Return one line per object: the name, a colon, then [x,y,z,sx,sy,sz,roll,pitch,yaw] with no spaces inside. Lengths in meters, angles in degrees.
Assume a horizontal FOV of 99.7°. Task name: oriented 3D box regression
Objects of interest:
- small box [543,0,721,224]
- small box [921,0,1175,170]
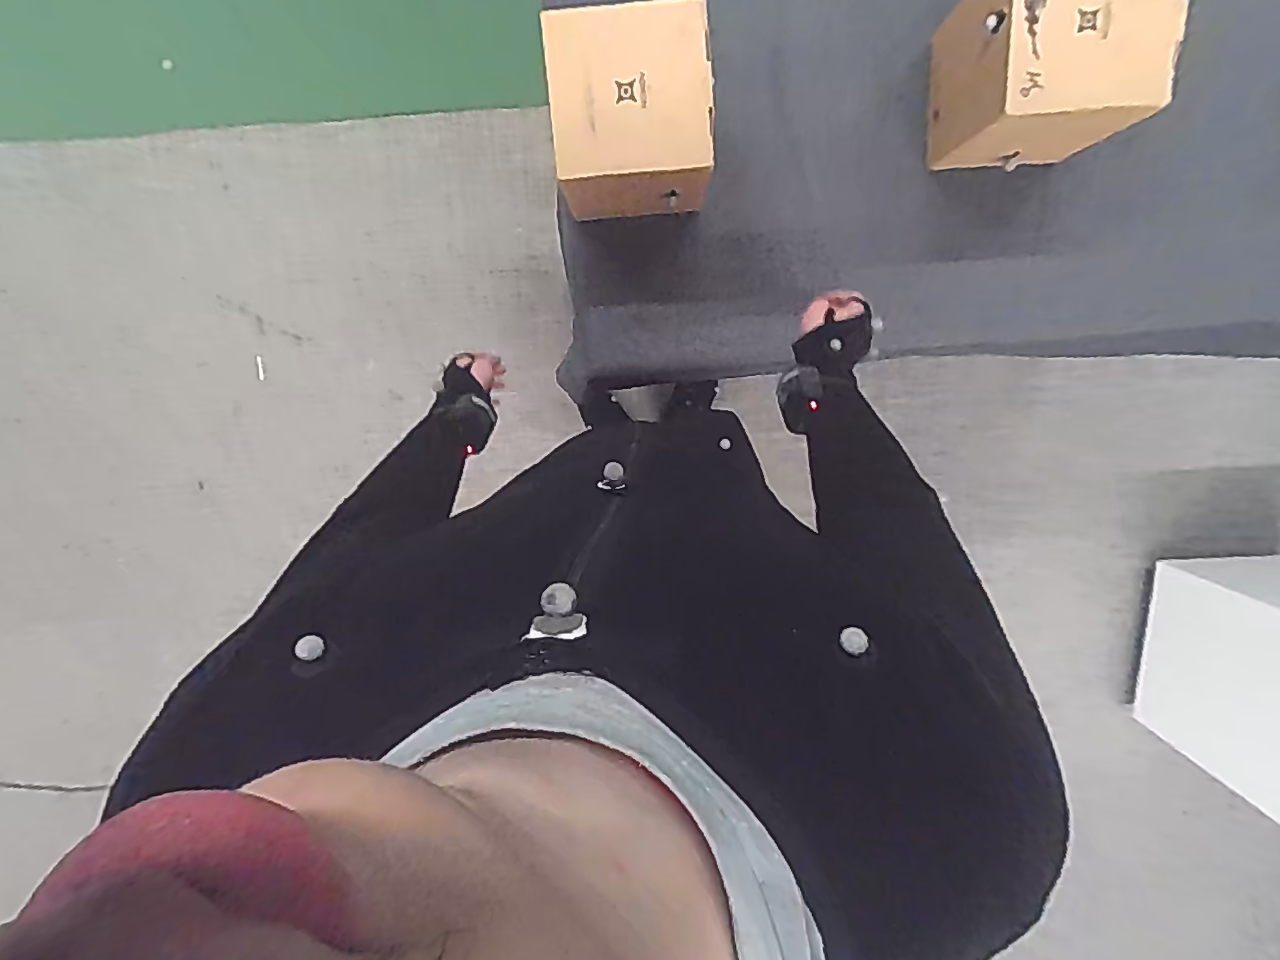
small box: [-0.008,-0.419,0.640,0.179,0.176,0.168,-6,100,0]
small box: [0.468,-0.488,0.642,0.179,0.176,0.168,-4,101,-2]
